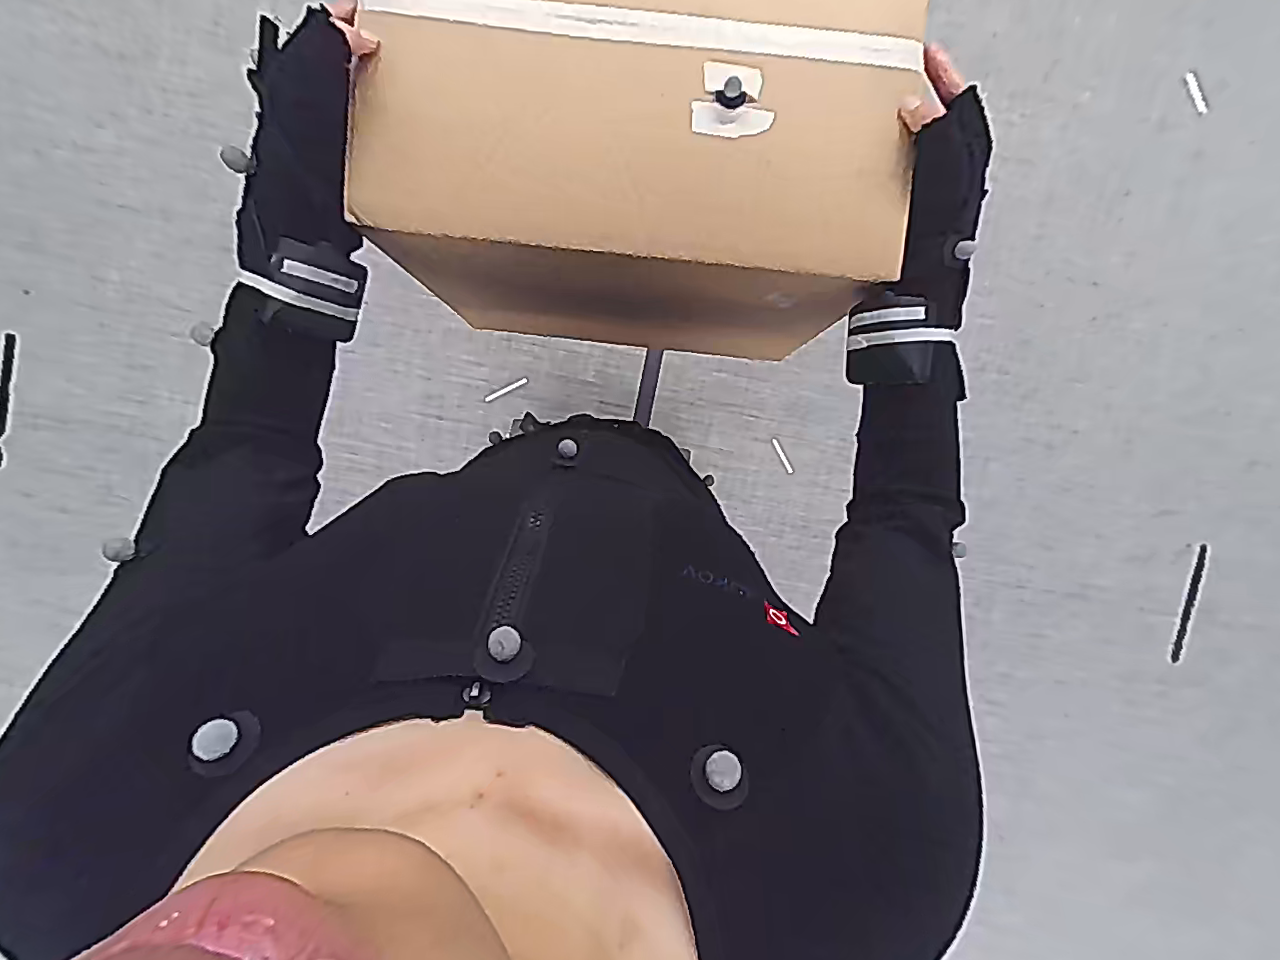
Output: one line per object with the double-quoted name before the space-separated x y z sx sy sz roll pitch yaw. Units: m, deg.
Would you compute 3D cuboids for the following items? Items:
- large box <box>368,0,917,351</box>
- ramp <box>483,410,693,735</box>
"large box" 0.001 -0.331 0.551 0.408 0.320 0.320 6 92 -2
"ramp" -0.177 0.317 1.603 0.509 0.206 0.991 8 96 -3
